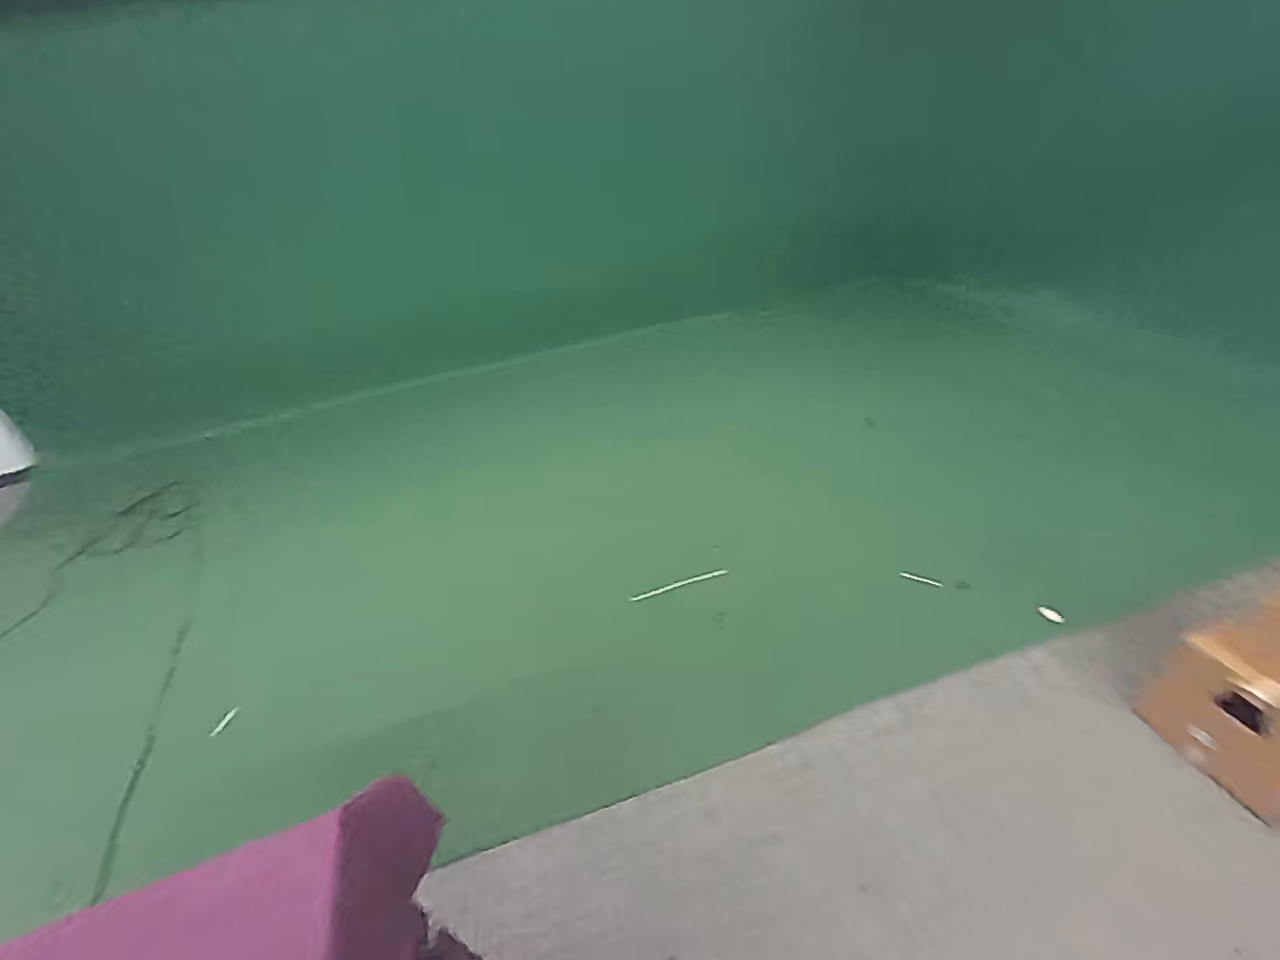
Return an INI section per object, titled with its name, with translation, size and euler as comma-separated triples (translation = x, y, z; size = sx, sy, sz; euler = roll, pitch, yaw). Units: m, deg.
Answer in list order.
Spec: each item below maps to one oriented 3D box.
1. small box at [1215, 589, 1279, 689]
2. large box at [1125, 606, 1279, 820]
[small box]
translation = 1.416, 0.340, 1.152
size = 0.168, 0.176, 0.179
euler = -17, 36, -12
[large box]
translation = 1.516, 0.524, 1.295
size = 0.408, 0.320, 0.320
euler = -16, 37, -11
